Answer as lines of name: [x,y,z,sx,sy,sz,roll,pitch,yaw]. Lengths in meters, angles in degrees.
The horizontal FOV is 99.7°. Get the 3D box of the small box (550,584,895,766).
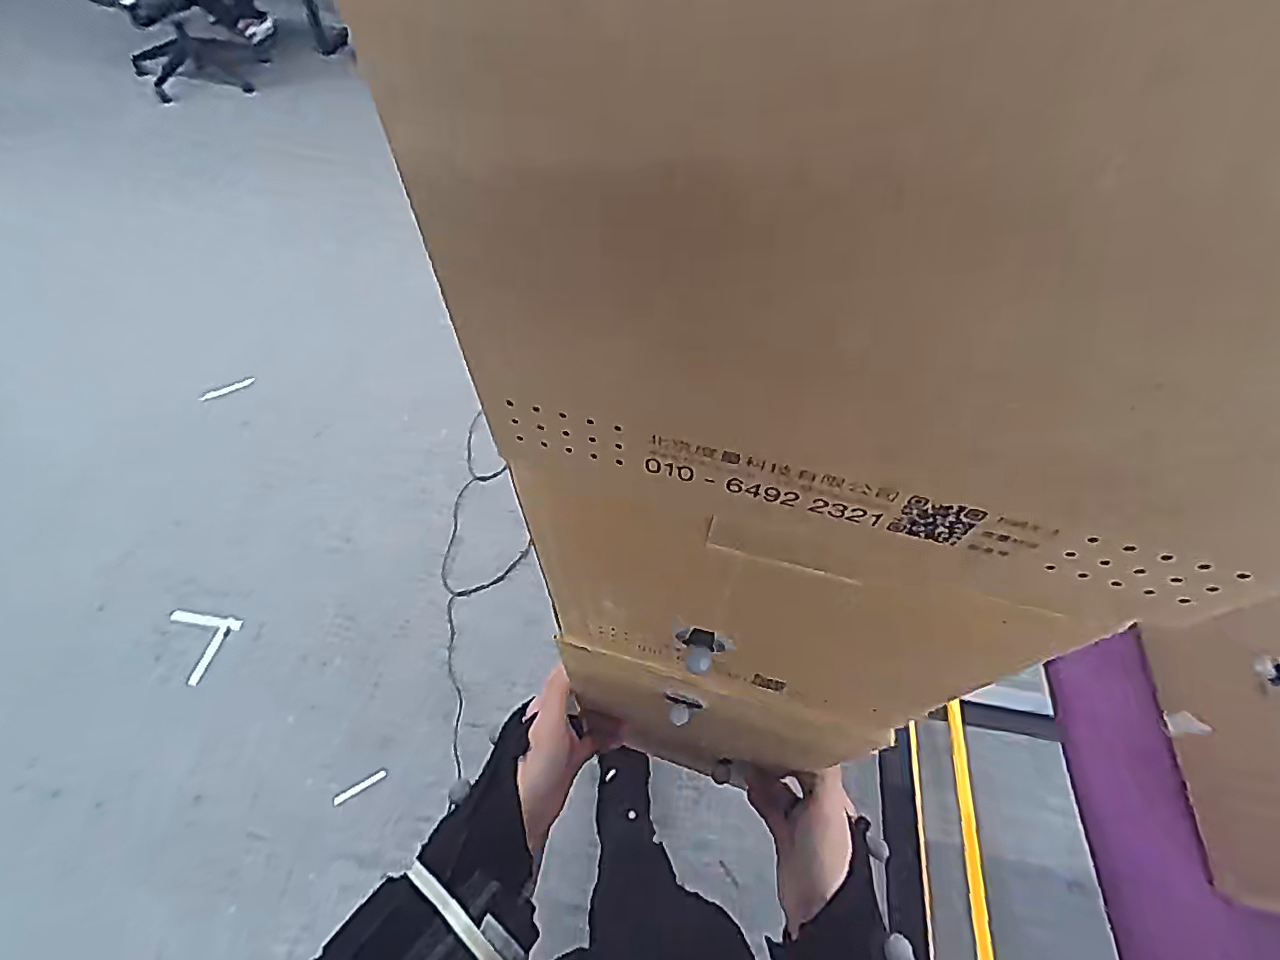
small box: [0.057,0.080,0.373,0.179,0.176,0.168,15,57,8]

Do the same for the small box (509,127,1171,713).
small box: [0.061,-0.019,0.243,0.168,0.176,0.179,13,57,8]
